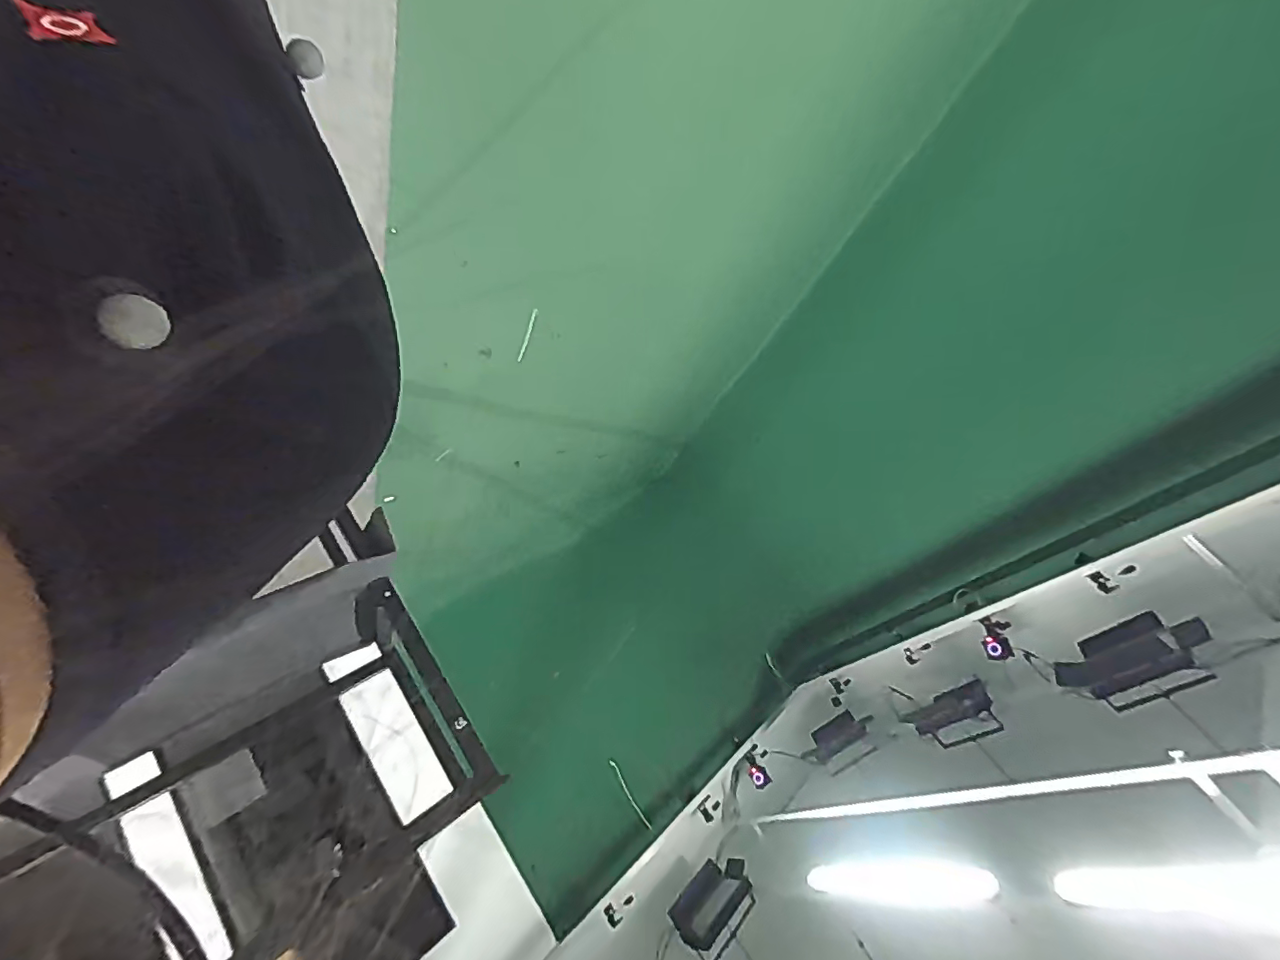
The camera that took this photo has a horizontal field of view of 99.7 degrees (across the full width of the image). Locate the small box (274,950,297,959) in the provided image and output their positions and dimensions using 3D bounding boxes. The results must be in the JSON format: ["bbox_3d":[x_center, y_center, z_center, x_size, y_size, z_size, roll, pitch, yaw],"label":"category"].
[{"bbox_3d":[-0.862,1.228,1.240,0.168,0.176,0.179,-25,161,-39],"label":"small box"}]
